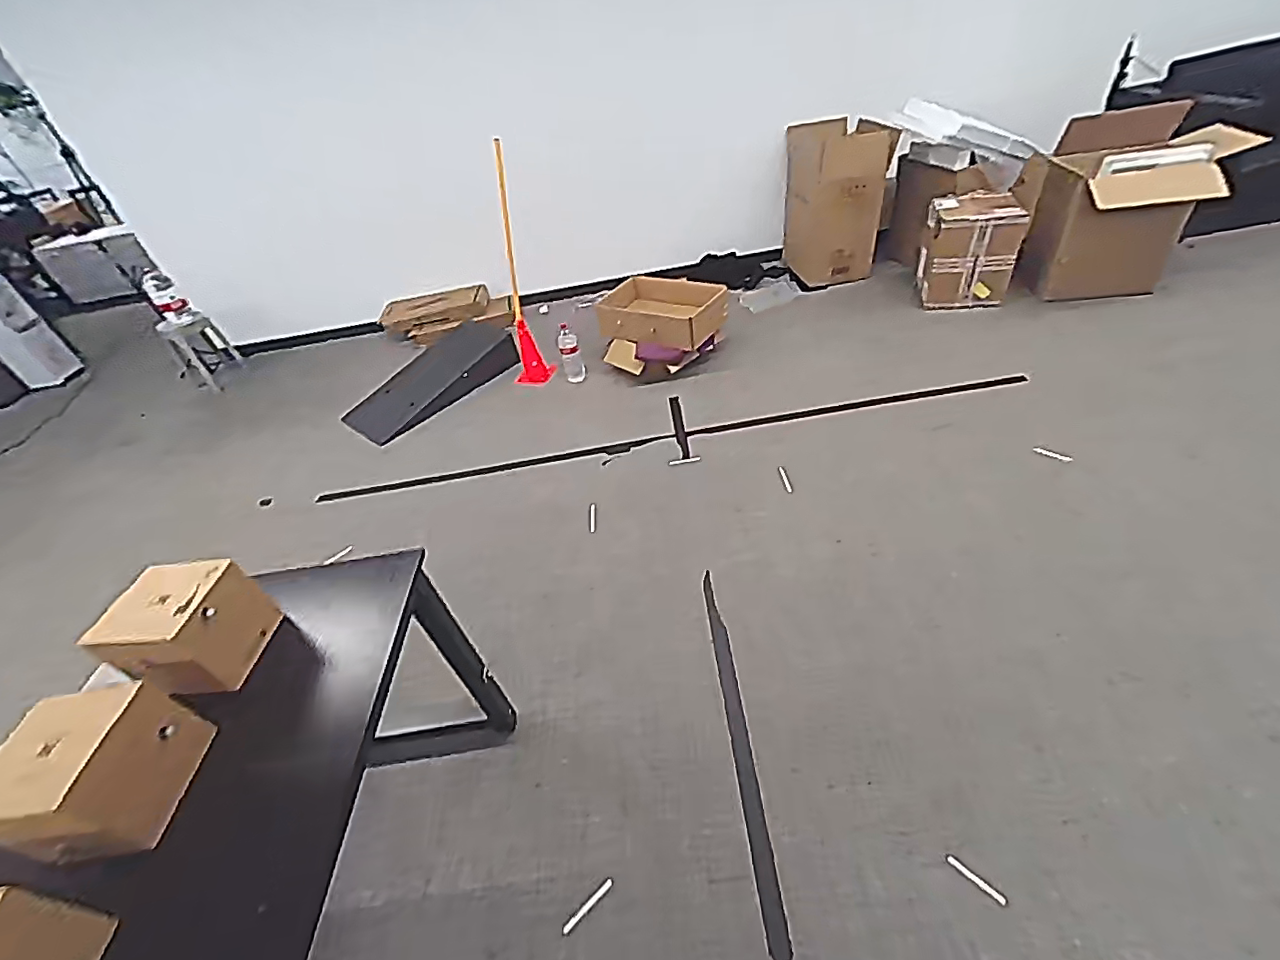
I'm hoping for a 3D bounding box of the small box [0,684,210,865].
[{"bbox_3d":[-0.787,0.429,0.789,0.168,0.176,0.179,-10,41,4],"label":"small box"}]

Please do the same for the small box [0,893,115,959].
[{"bbox_3d":[-0.770,0.587,0.598,0.179,0.176,0.168,-9,40,2],"label":"small box"}]

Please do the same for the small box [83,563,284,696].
[{"bbox_3d":[-0.801,0.272,0.971,0.179,0.176,0.168,-6,41,7],"label":"small box"}]
